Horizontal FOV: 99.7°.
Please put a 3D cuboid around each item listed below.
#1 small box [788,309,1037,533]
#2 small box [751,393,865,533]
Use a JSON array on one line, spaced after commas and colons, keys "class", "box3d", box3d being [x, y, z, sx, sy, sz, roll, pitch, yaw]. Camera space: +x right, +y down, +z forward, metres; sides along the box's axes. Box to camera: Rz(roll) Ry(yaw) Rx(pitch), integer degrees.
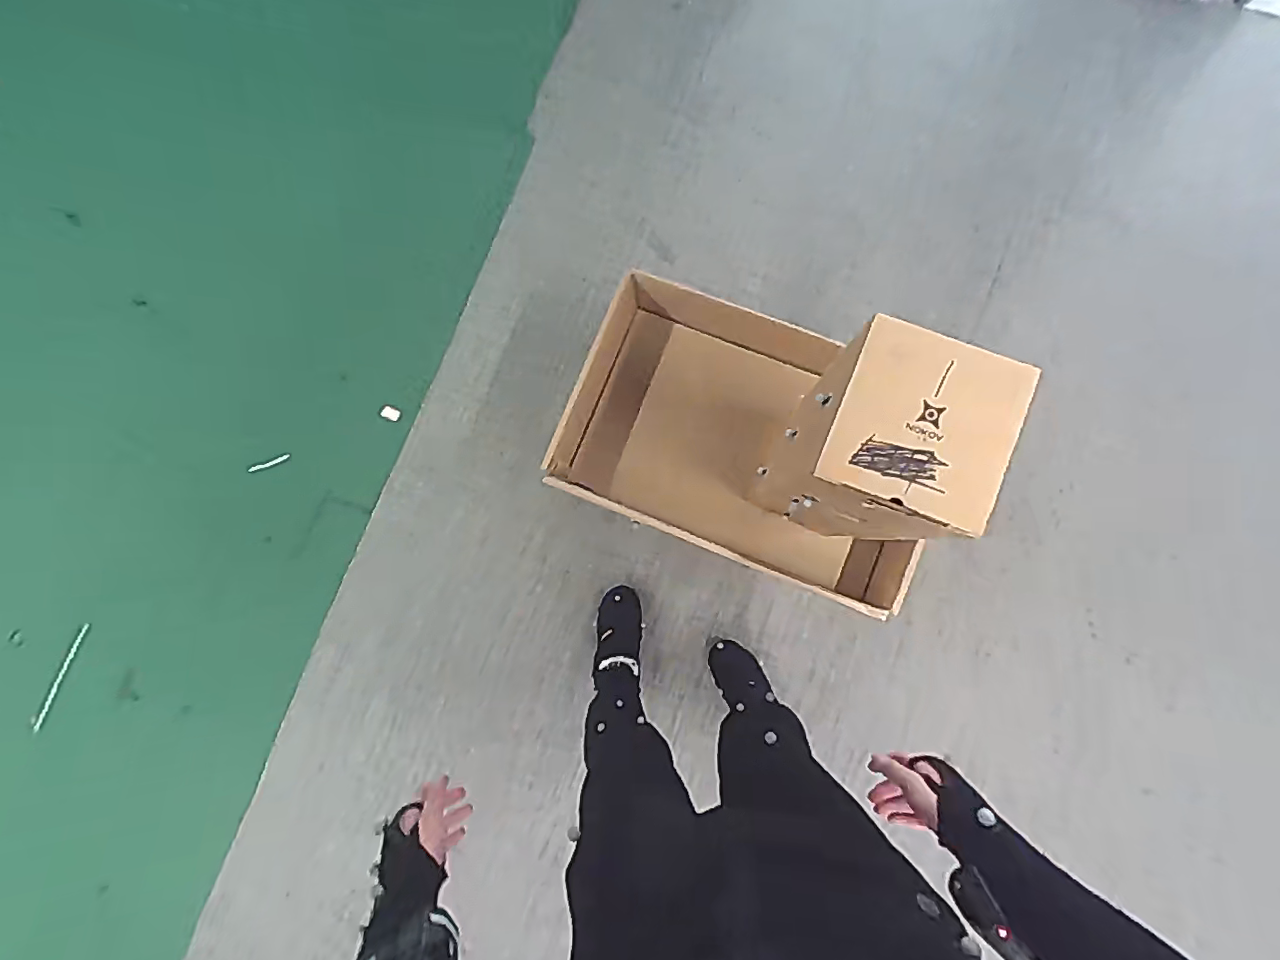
[{"class": "small box", "box3d": [0.277, -0.050, 0.595, 0.168, 0.176, 0.179, 22, 86, 6]}, {"class": "small box", "box3d": [0.301, -0.021, 0.922, 0.168, 0.176, 0.179, 23, 87, 6]}]
